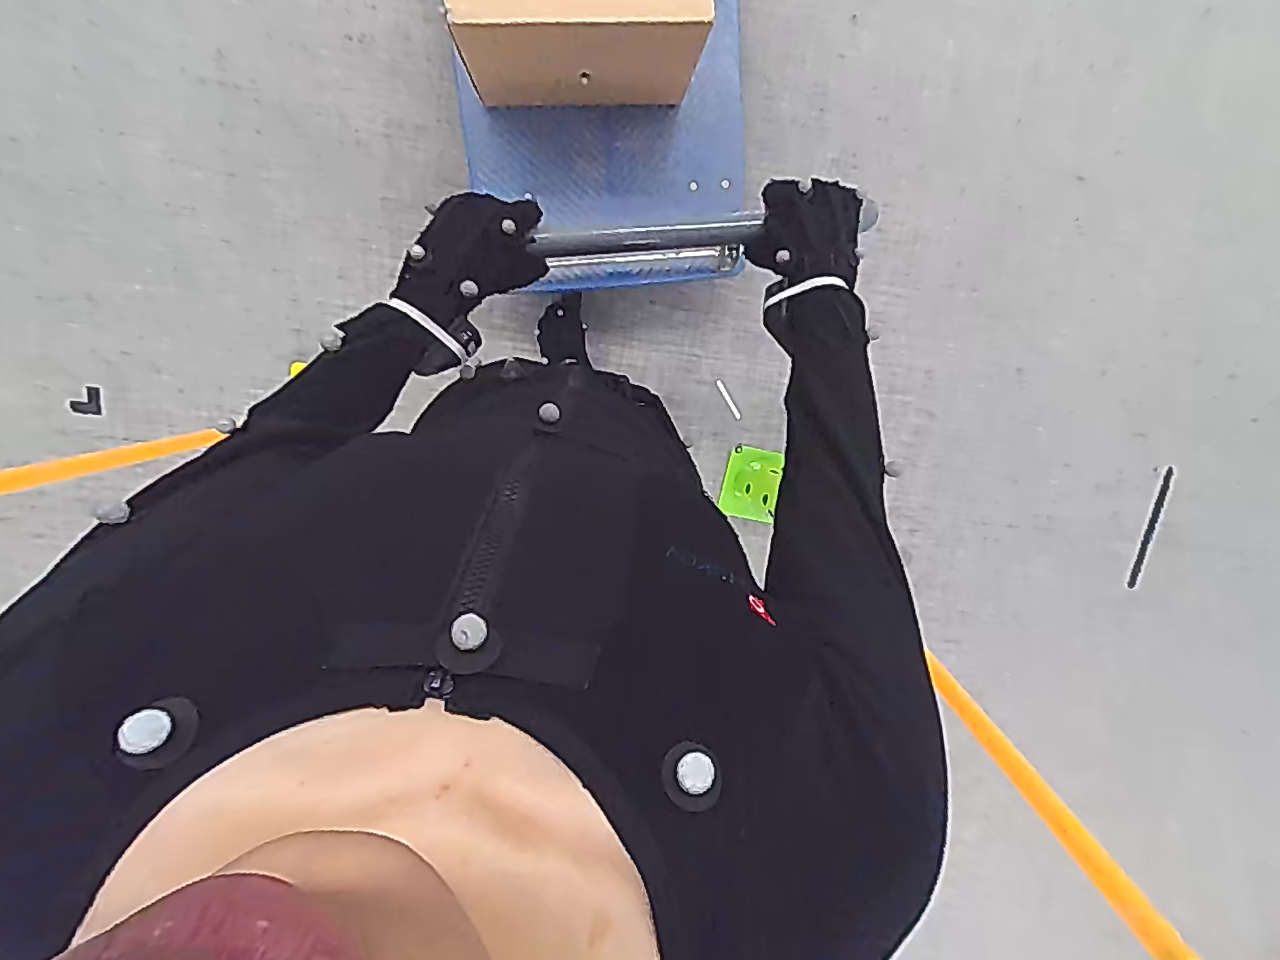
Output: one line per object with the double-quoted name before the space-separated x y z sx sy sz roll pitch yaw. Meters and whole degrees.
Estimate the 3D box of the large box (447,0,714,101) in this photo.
"large box" -0.104 -0.879 0.915 0.408 0.320 0.320 -4 106 -4

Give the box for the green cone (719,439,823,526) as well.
"green cone" 0.352 0.040 1.342 0.202 0.368 0.200 10 103 -9
